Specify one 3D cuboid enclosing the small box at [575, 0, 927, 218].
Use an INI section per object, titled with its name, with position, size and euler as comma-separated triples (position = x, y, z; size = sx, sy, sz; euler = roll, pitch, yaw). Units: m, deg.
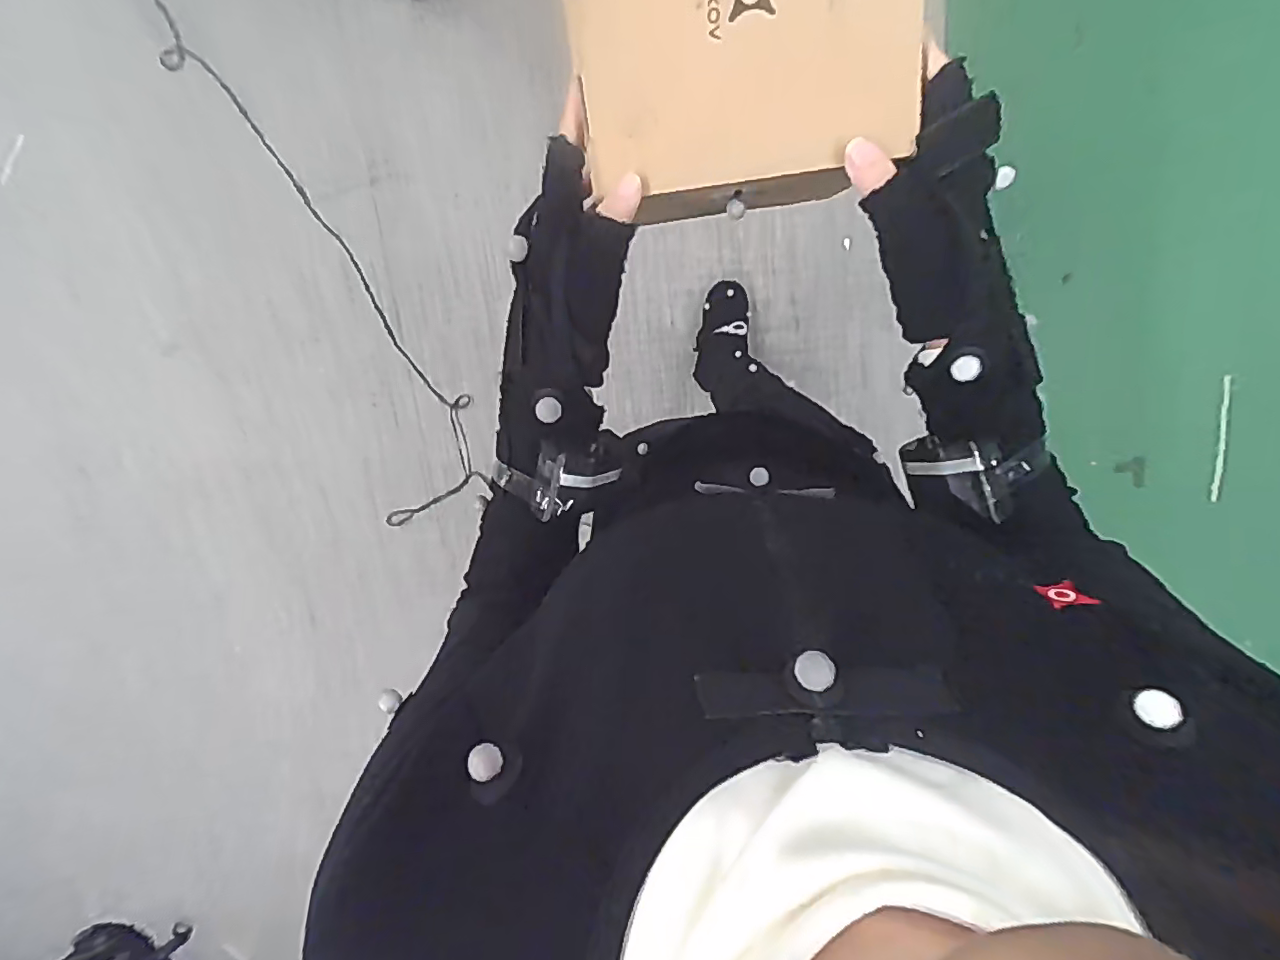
[small box]
position = 0.056, -0.273, 0.343
size = 0.179, 0.176, 0.168
euler = -7, 111, 4
